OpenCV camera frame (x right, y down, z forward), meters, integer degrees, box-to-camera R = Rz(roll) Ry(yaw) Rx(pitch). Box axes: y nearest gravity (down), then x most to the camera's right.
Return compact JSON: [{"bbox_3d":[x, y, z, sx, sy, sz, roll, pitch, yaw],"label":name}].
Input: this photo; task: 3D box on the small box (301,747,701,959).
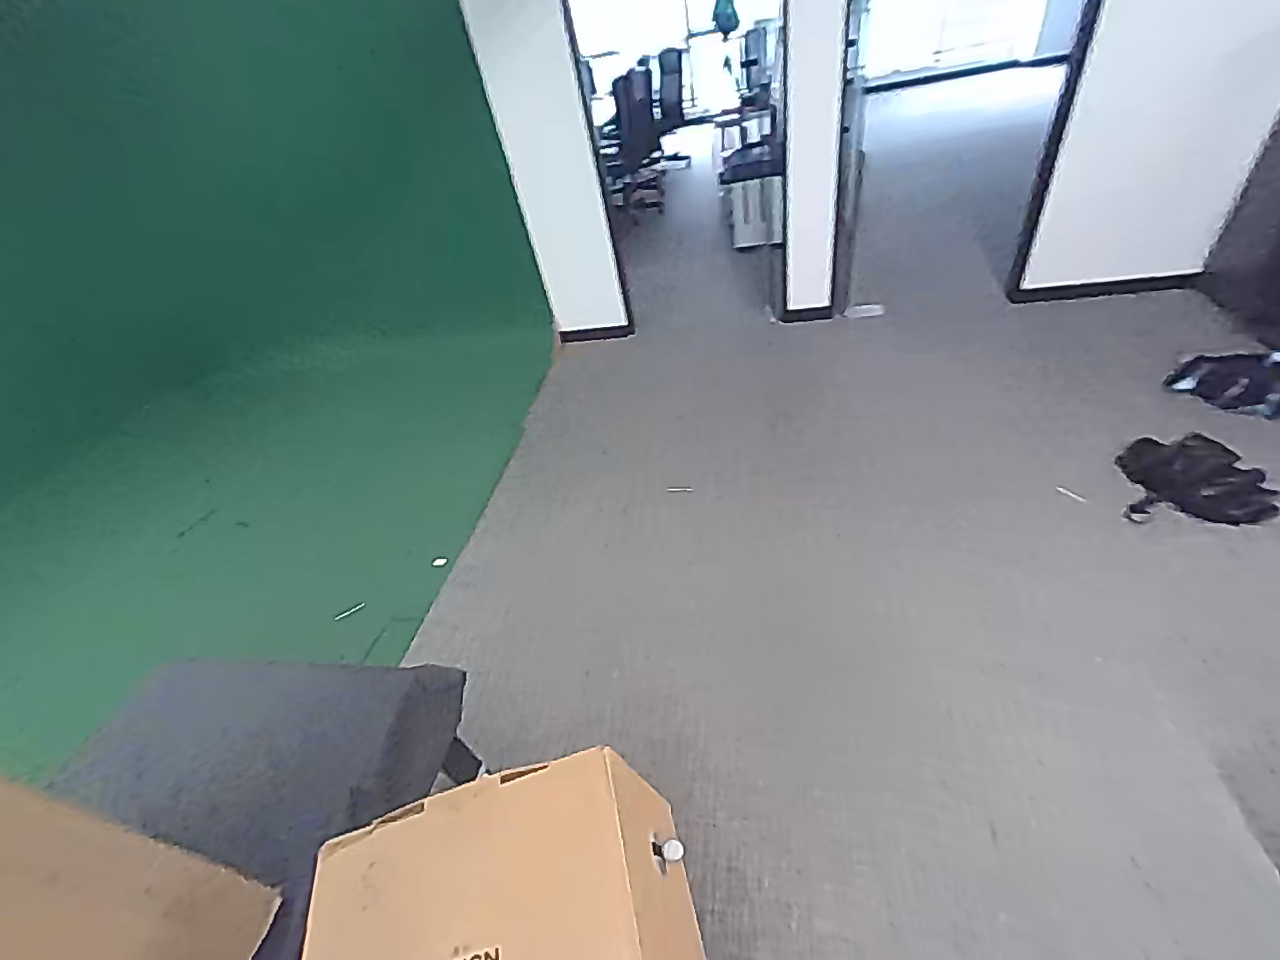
[{"bbox_3d":[-0.060,0.279,0.294,0.168,0.176,0.179,-19,47,3],"label":"small box"}]
